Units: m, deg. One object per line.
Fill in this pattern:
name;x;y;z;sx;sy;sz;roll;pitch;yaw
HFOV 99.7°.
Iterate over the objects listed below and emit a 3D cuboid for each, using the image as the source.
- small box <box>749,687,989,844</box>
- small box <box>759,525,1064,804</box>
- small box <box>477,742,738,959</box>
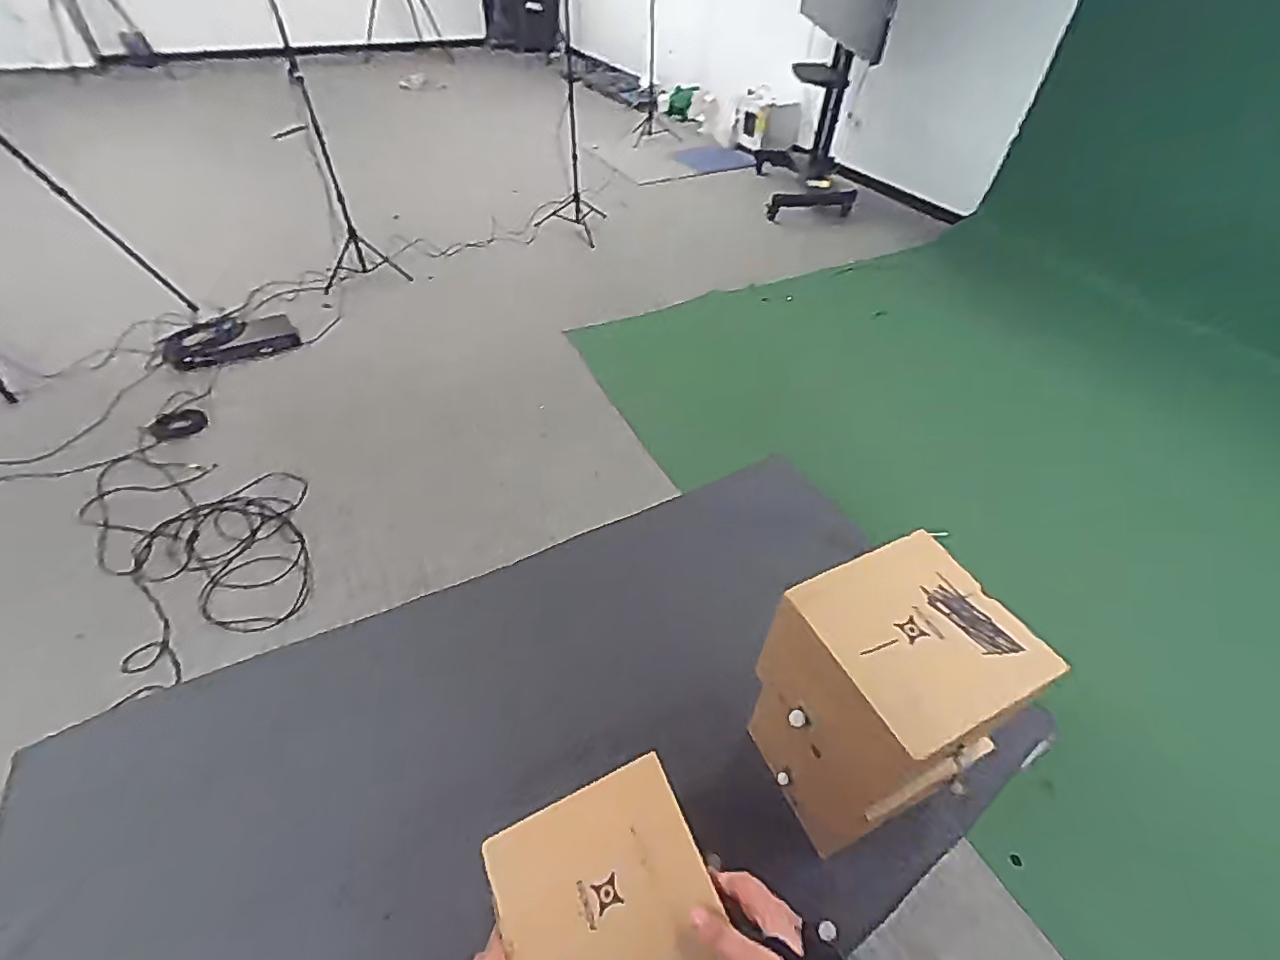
small box;0.252;0.295;0.644;0.179;0.176;0.168;-17;49;-17
small box;0.240;0.178;0.528;0.179;0.176;0.168;-19;50;-17
small box;-0.025;0.382;0.507;0.179;0.176;0.168;-23;54;-11
